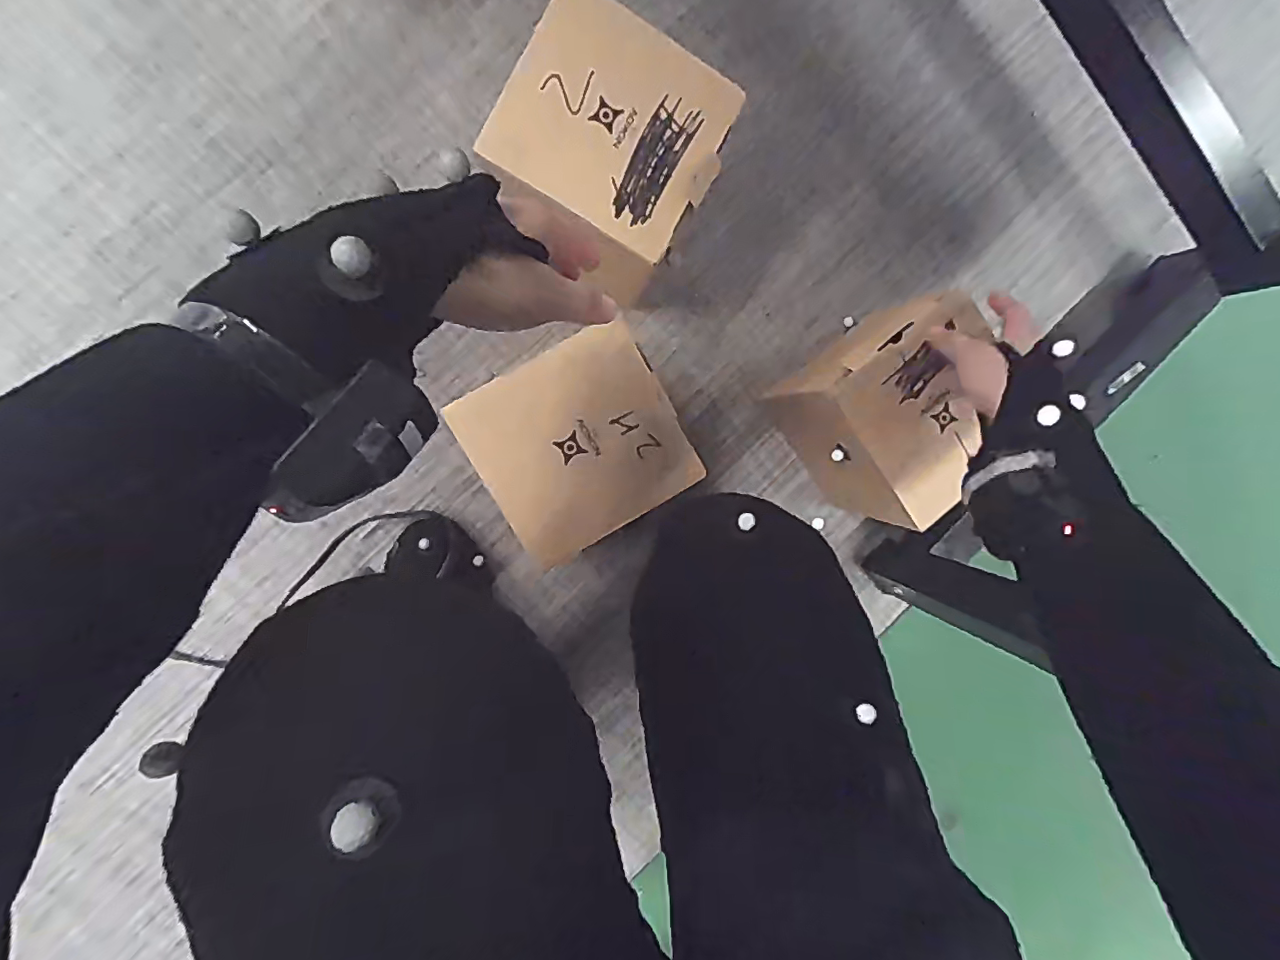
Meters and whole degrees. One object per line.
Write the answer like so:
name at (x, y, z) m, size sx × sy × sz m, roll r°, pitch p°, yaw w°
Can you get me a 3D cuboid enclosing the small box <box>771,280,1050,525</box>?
small box at (0.273, -0.078, 0.585) m, size 0.168 × 0.176 × 0.179 m, roll -39°, pitch 100°, yaw -3°
